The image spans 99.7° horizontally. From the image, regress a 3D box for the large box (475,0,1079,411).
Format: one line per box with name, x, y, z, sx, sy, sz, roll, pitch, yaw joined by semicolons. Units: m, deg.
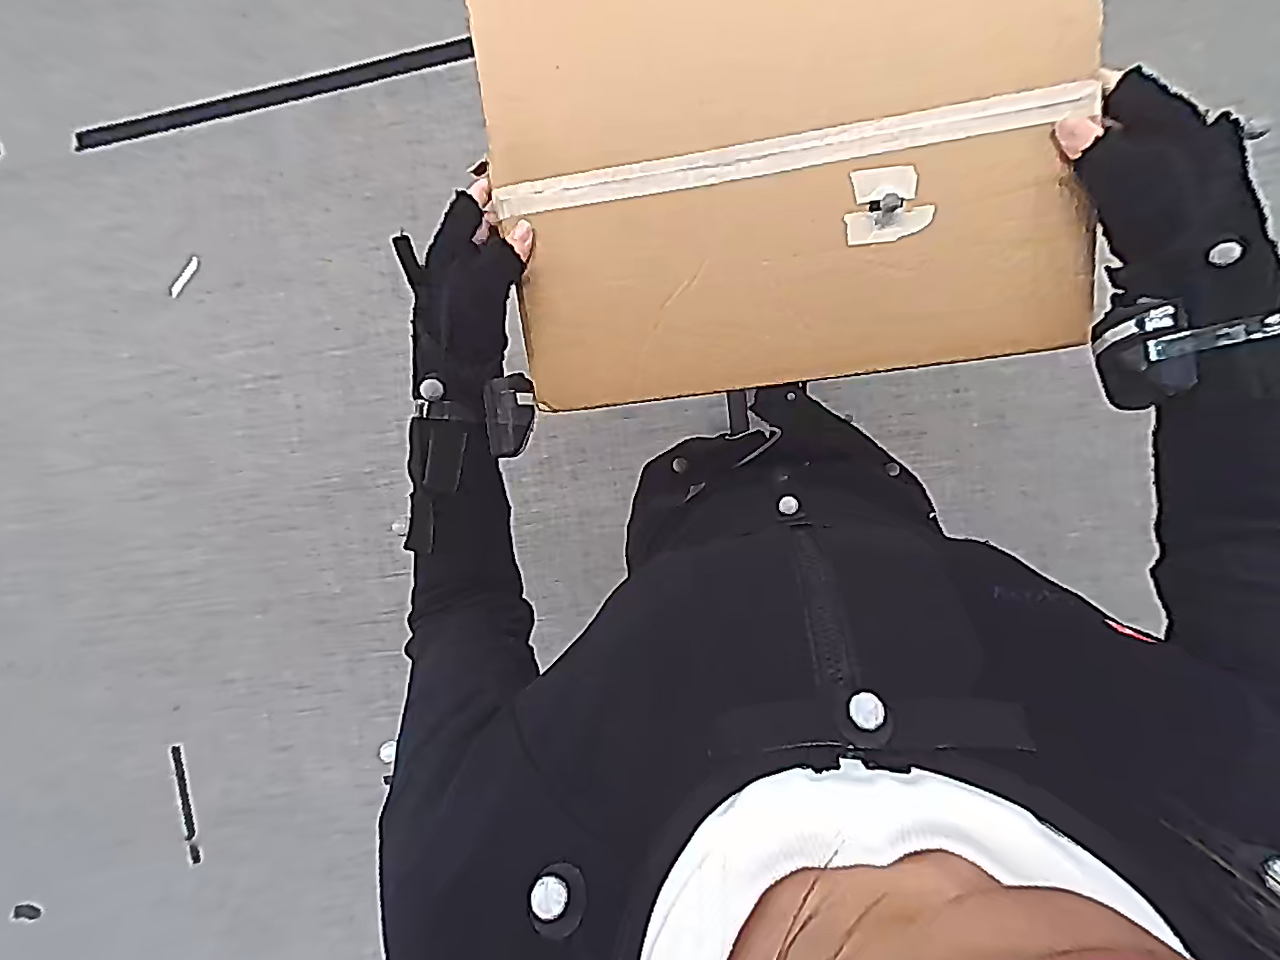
large box;0.109;-0.261;0.533;0.408;0.320;0.320;-7;102;6
